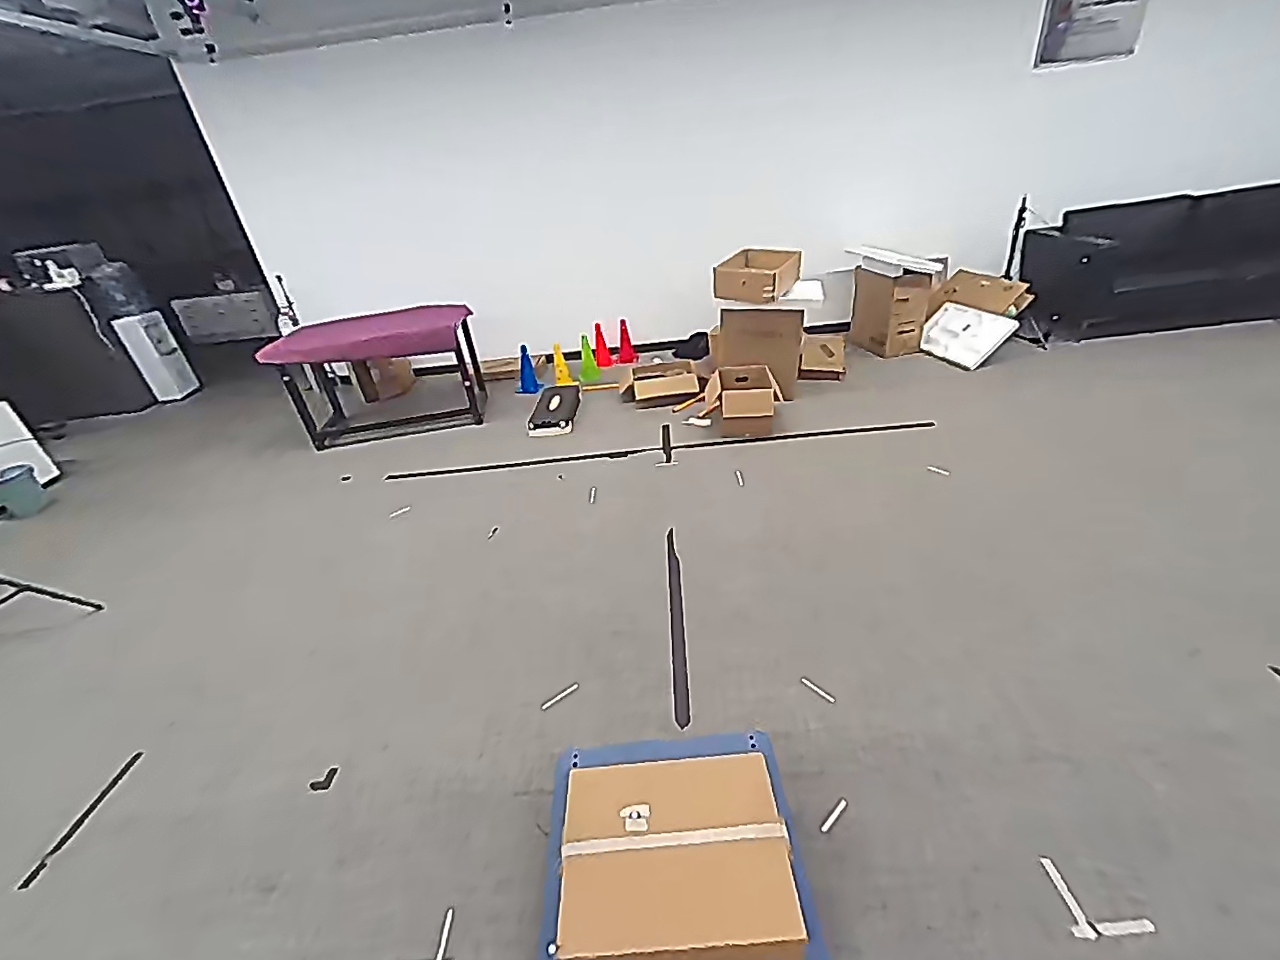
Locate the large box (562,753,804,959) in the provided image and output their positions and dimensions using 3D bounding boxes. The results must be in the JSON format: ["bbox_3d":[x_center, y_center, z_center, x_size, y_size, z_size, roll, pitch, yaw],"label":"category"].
[{"bbox_3d":[0.081,0.799,1.078,0.408,0.320,0.320,-7,30,2],"label":"large box"}]
